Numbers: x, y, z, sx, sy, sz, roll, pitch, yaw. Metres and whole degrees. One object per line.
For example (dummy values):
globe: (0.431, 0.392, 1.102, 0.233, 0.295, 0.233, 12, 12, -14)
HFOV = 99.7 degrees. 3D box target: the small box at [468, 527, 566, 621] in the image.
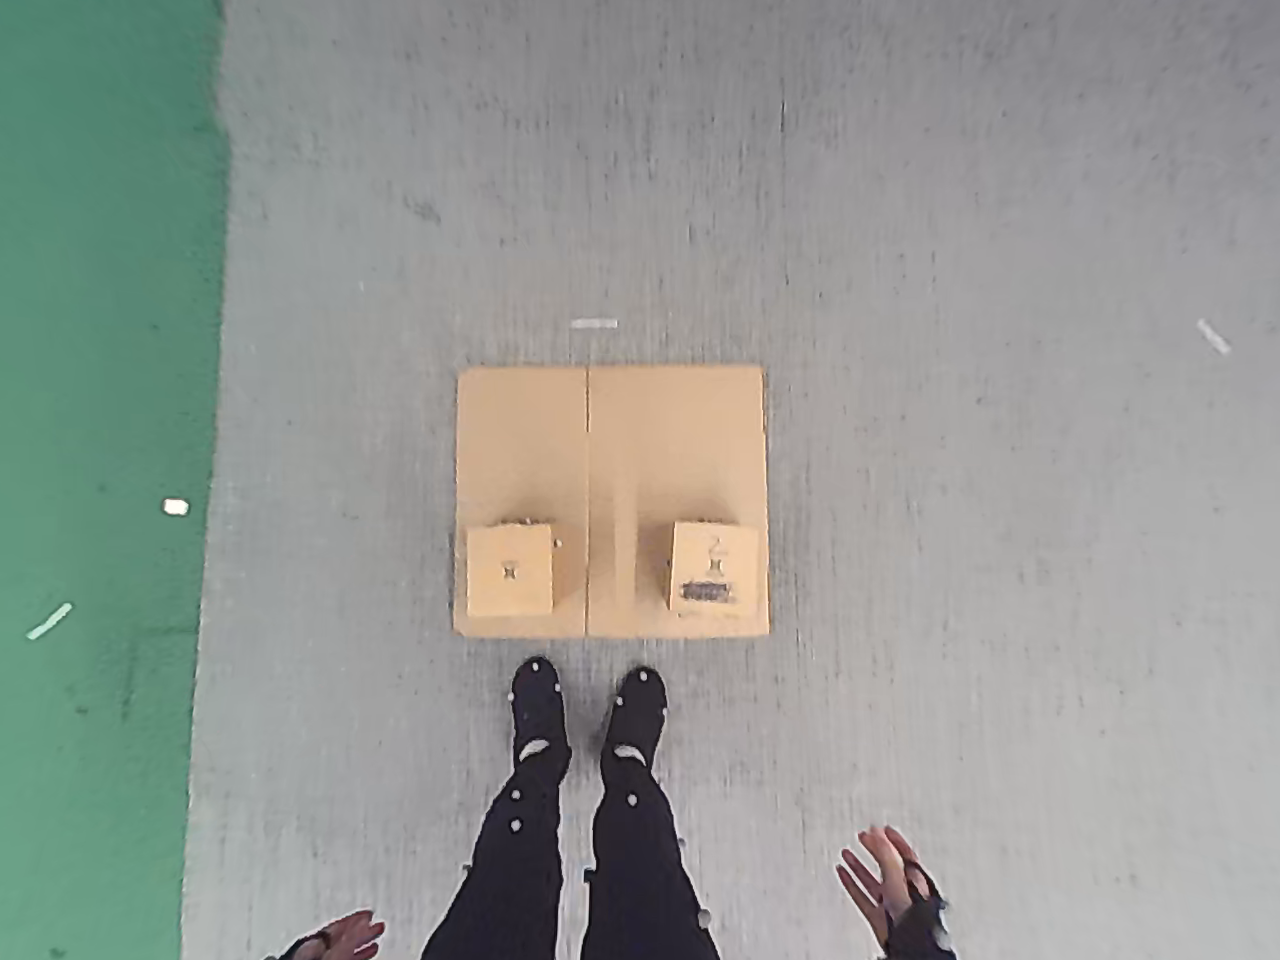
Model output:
small box: (-0.246, 0.187, 1.115, 0.168, 0.176, 0.179, -2, 84, 0)
